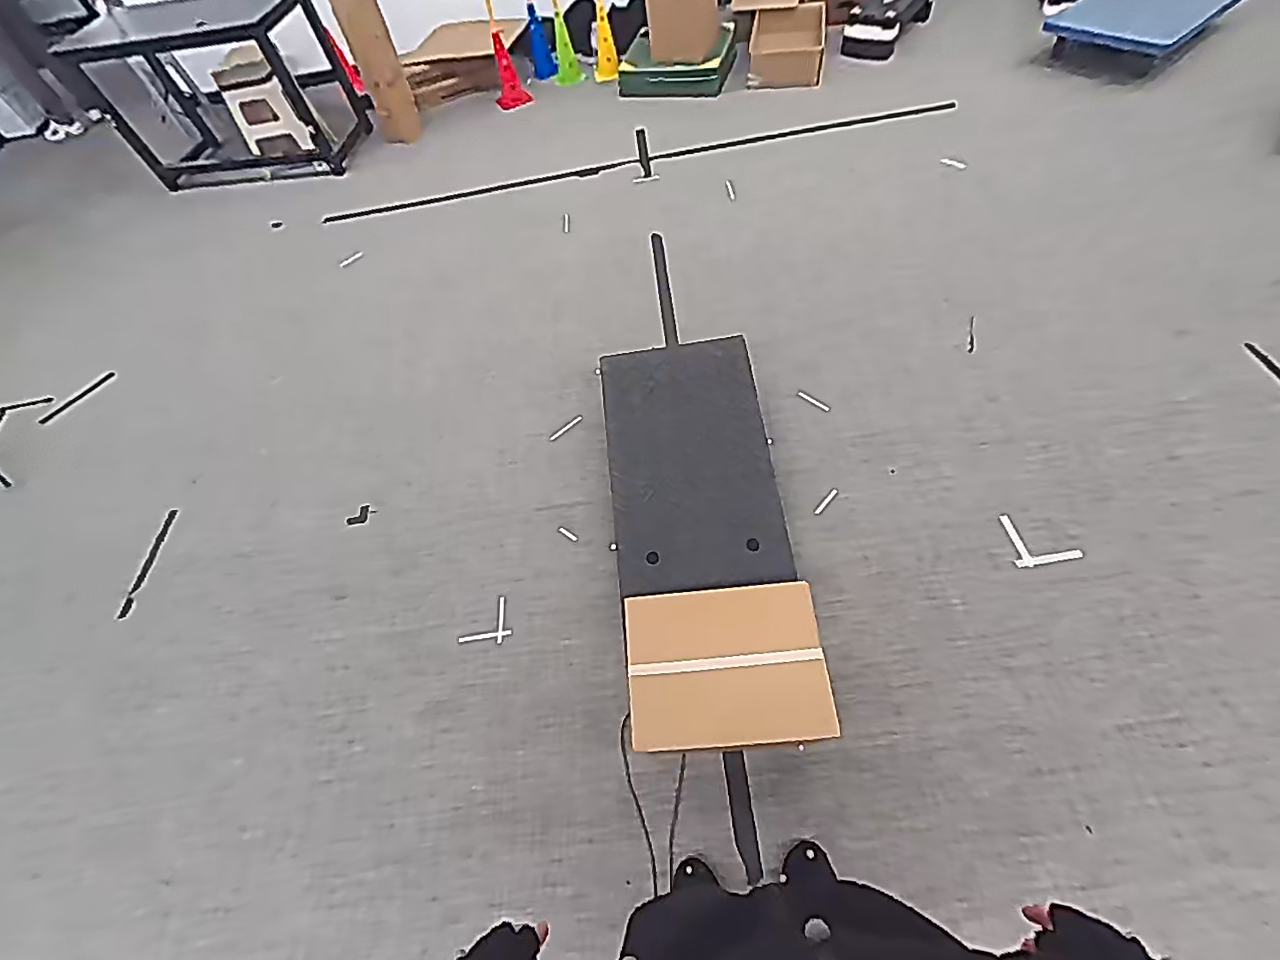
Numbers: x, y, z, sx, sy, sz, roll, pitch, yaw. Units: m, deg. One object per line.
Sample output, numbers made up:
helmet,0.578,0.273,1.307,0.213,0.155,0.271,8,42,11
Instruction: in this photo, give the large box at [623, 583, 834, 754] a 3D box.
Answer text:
large box,0.187,0.451,1.257,0.408,0.320,0.320,-6,61,4

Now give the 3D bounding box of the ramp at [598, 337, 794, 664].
ramp,0.150,0.012,1.625,0.509,0.206,0.991,-8,57,1
